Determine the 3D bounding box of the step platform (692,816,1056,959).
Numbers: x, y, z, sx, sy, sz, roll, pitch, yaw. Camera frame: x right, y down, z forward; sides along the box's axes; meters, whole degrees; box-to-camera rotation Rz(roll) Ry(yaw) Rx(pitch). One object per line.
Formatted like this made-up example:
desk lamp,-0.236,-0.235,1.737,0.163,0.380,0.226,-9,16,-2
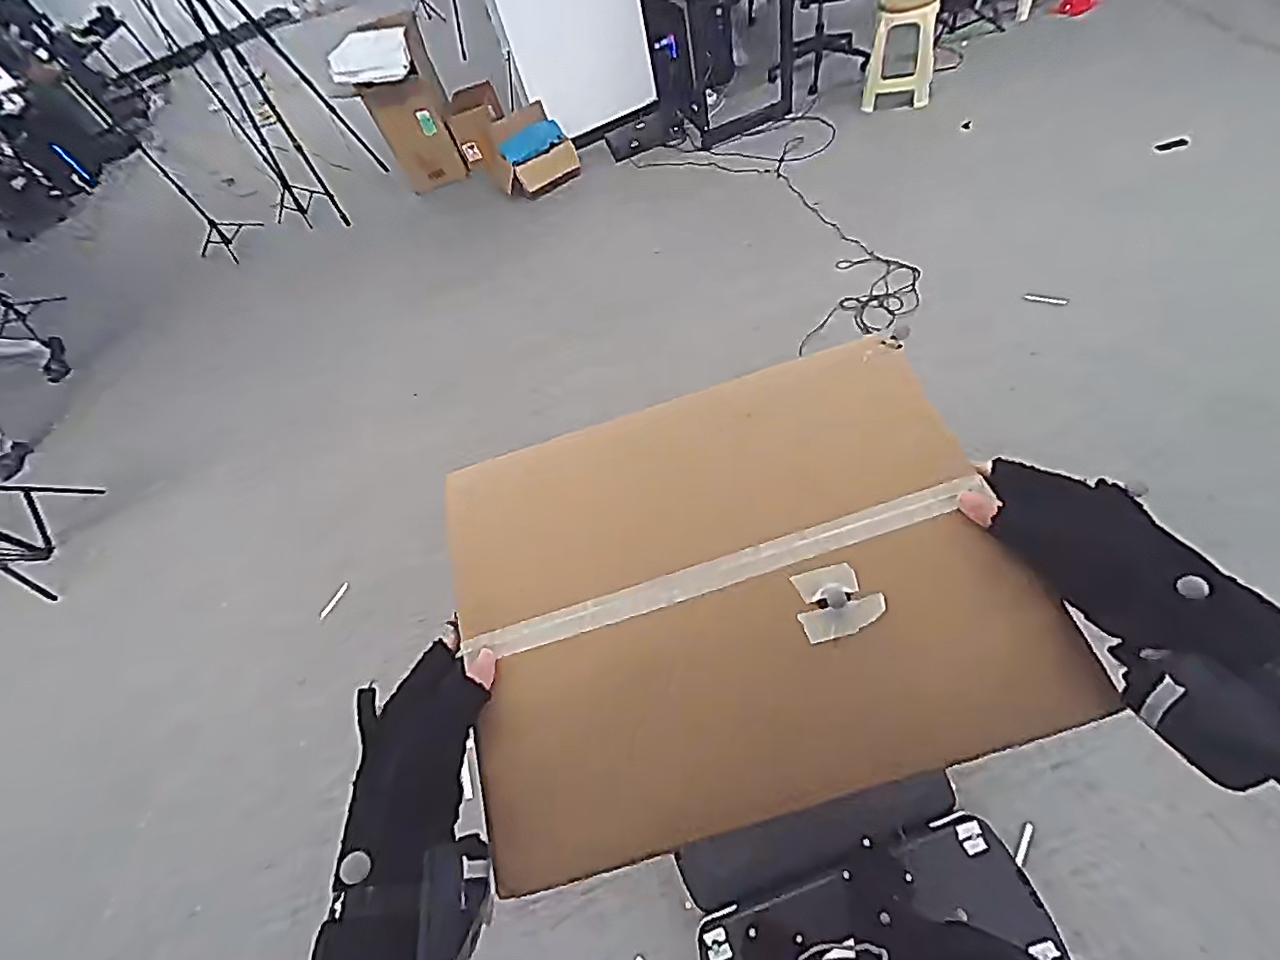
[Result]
step platform,0.454,0.969,1.113,0.684,0.204,0.286,-24,53,1

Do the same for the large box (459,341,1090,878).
large box,0.087,0.131,0.550,0.408,0.320,0.320,-18,65,1
